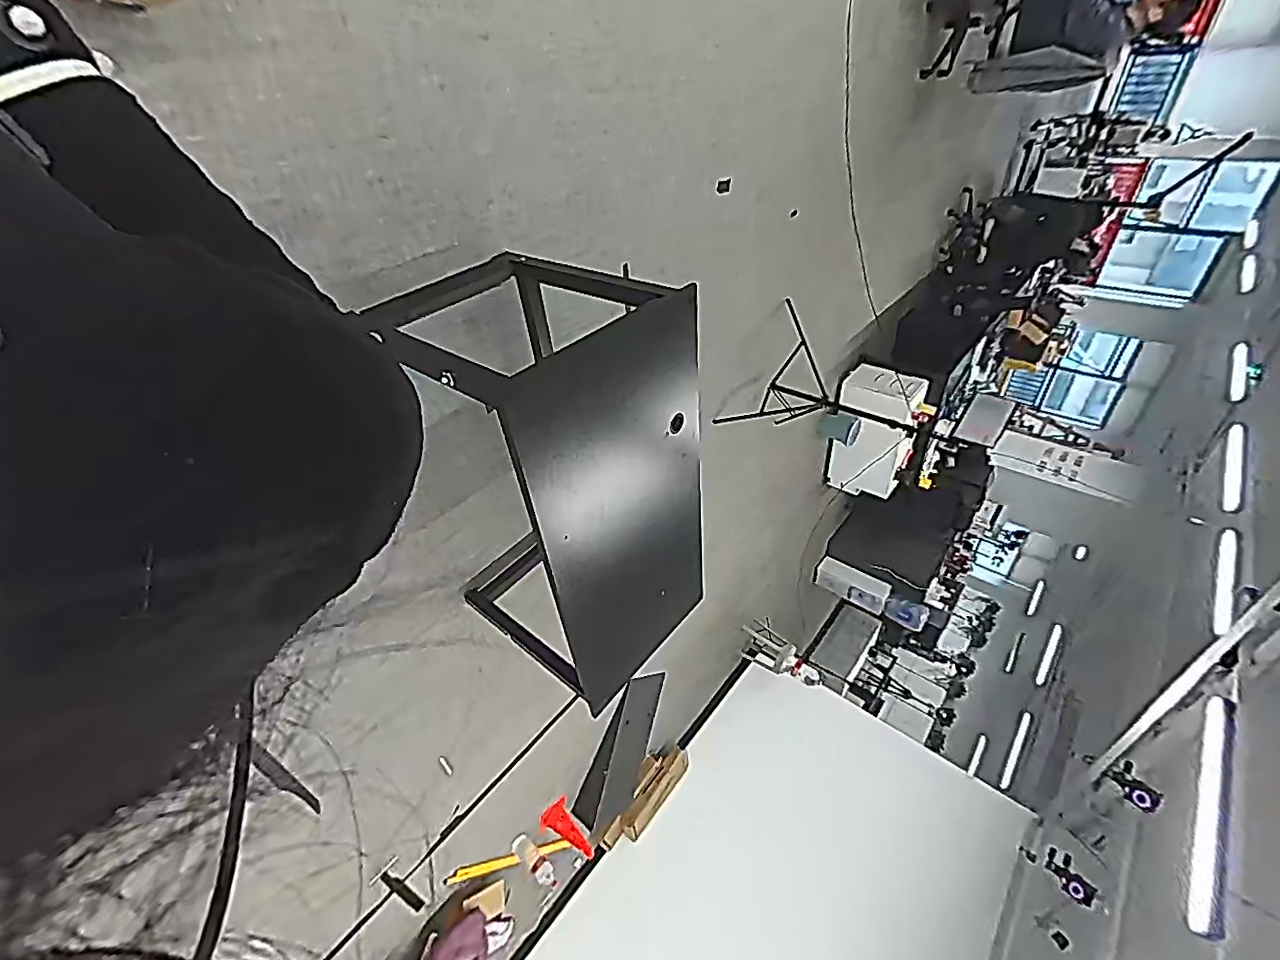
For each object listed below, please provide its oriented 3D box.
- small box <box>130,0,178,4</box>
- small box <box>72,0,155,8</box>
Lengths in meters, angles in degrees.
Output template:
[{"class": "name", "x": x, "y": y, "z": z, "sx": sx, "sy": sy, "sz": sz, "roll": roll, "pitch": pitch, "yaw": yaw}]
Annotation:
[{"class": "small box", "x": -0.762, "y": -0.790, "z": 0.752, "sx": 0.168, "sy": 0.176, "sz": 0.179, "roll": -36, "pitch": 137, "yaw": -39}, {"class": "small box", "x": -0.884, "y": -0.859, "z": 0.839, "sx": 0.179, "sy": 0.176, "sz": 0.168, "roll": -31, "pitch": 134, "yaw": -40}]
